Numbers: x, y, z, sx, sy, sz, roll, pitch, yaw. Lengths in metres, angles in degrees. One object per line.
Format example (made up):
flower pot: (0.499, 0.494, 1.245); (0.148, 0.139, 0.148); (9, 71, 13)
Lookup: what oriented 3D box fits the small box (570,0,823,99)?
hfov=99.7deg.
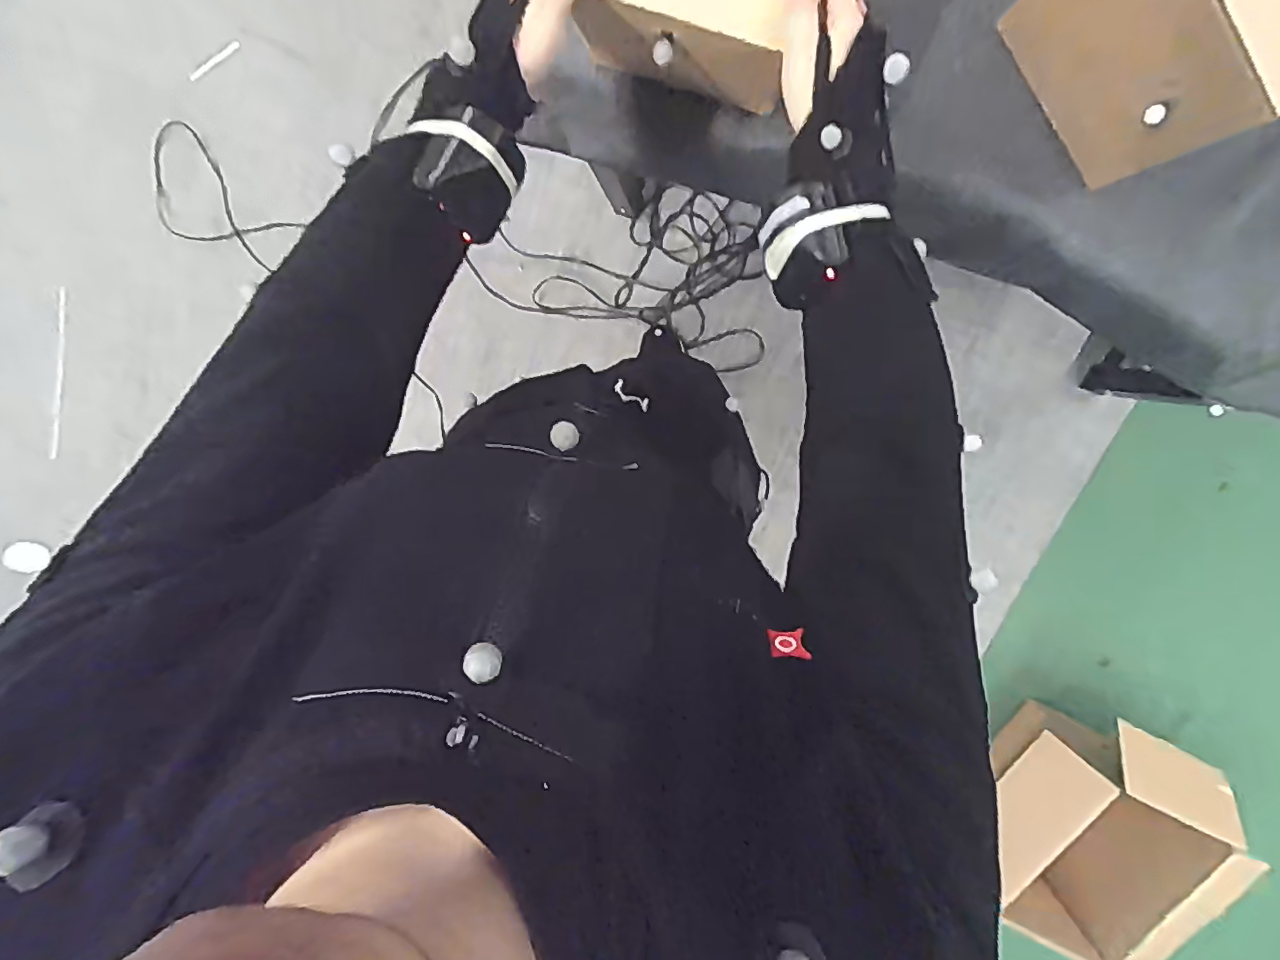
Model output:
small box: (0.056, -0.409, 0.396); (0.179, 0.176, 0.168); (17, 113, 1)
